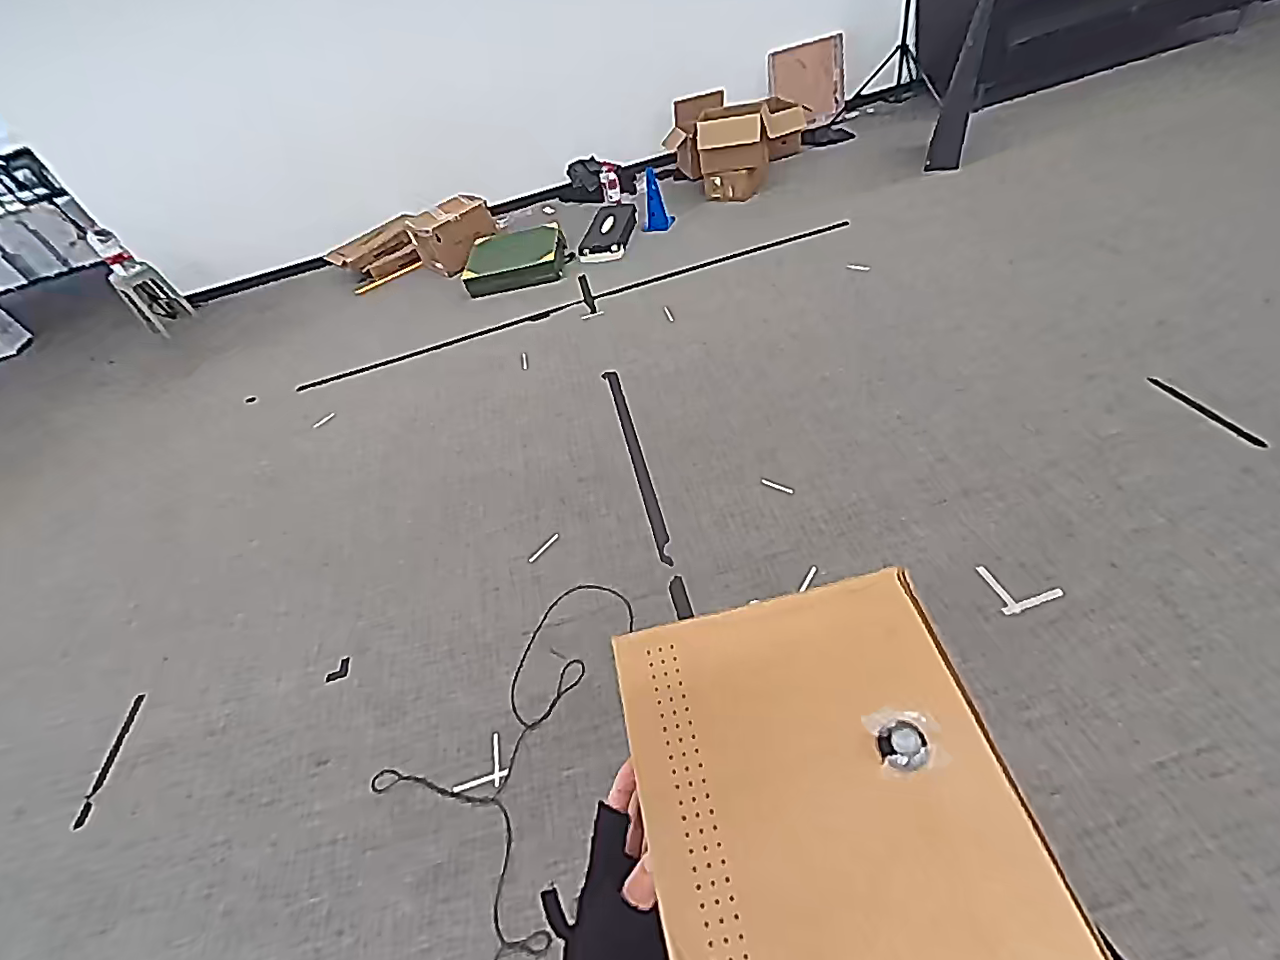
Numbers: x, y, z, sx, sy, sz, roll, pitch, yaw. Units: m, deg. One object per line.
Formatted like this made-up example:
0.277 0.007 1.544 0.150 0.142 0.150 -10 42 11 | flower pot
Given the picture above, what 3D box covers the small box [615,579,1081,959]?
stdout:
0.088 0.188 0.325 0.176 0.168 0.179 -15 55 1 | small box
